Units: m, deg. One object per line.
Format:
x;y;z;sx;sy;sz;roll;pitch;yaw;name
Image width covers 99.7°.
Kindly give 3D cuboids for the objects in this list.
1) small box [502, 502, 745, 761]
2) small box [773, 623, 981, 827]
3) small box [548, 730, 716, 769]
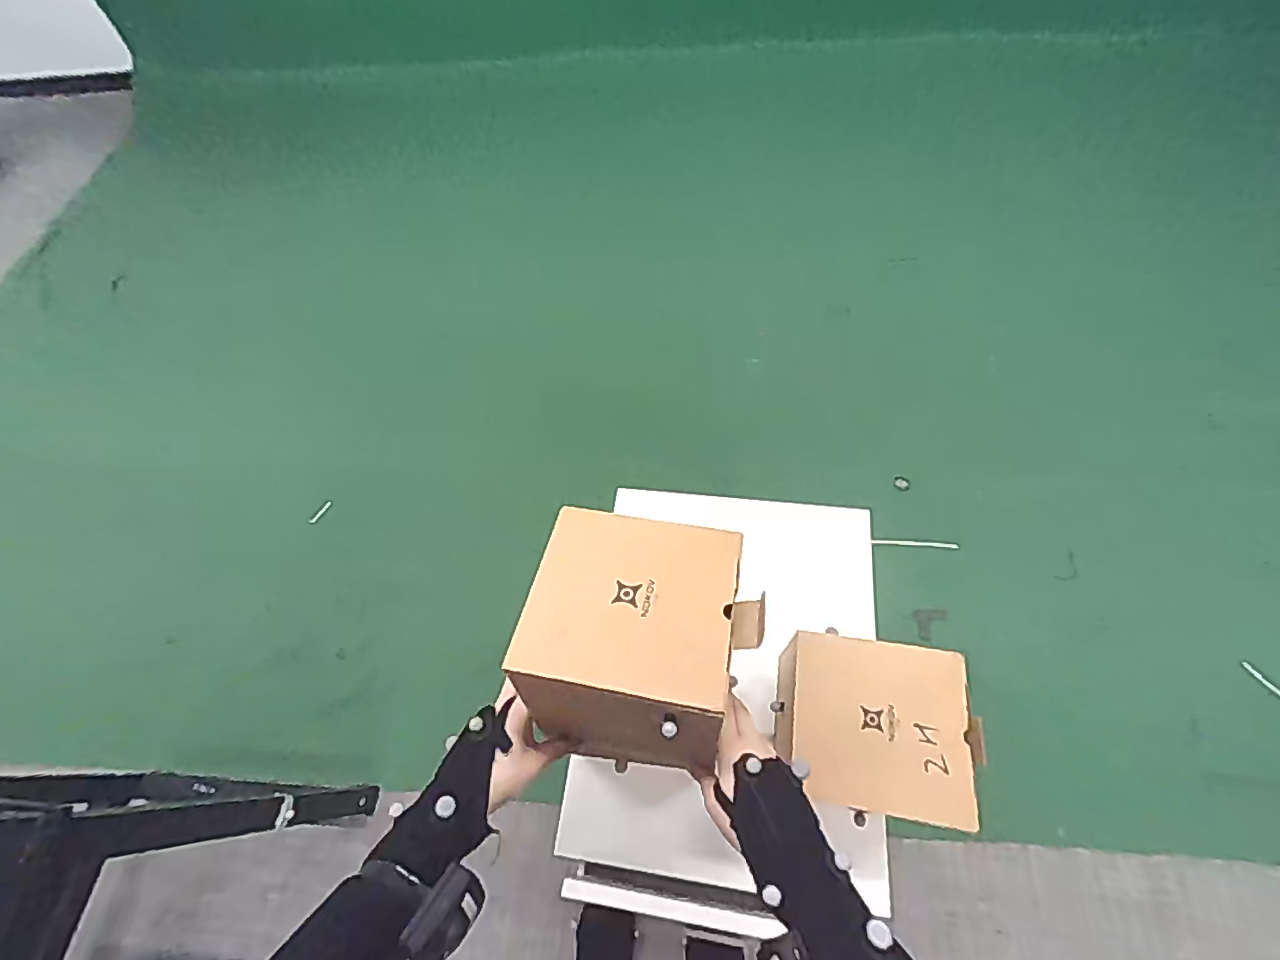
-0.003;0.144;0.507;0.179;0.176;0.168;7;50;9;small box
0.251;0.274;0.615;0.179;0.176;0.168;7;65;9;small box
0.006;0.248;0.655;0.179;0.176;0.168;4;63;7;small box
